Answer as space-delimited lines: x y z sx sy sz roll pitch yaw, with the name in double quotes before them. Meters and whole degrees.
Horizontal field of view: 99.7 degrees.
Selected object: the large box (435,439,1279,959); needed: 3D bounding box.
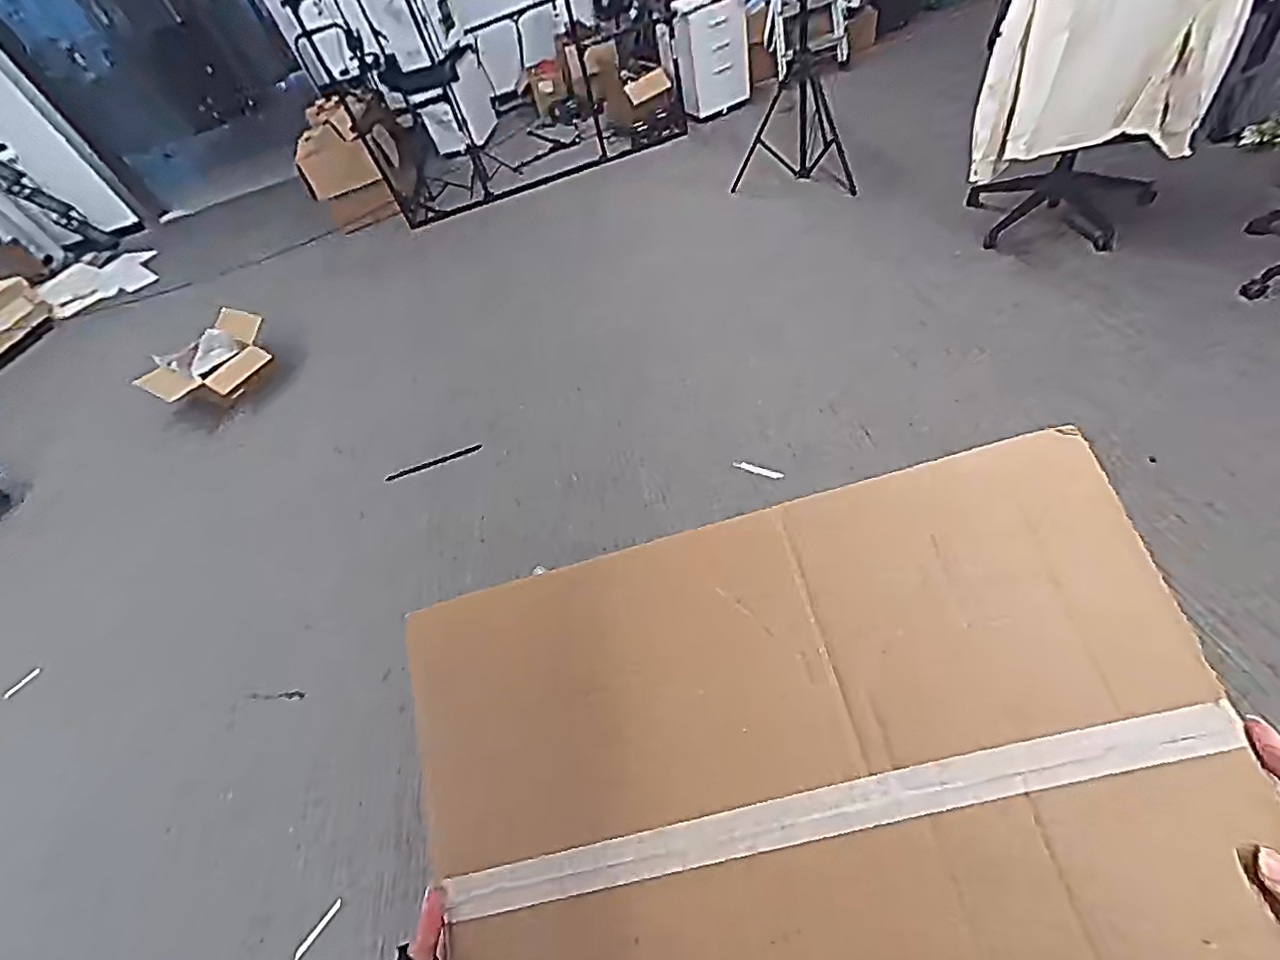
"large box" 0.117 0.215 0.423 0.408 0.320 0.320 -17 72 7
